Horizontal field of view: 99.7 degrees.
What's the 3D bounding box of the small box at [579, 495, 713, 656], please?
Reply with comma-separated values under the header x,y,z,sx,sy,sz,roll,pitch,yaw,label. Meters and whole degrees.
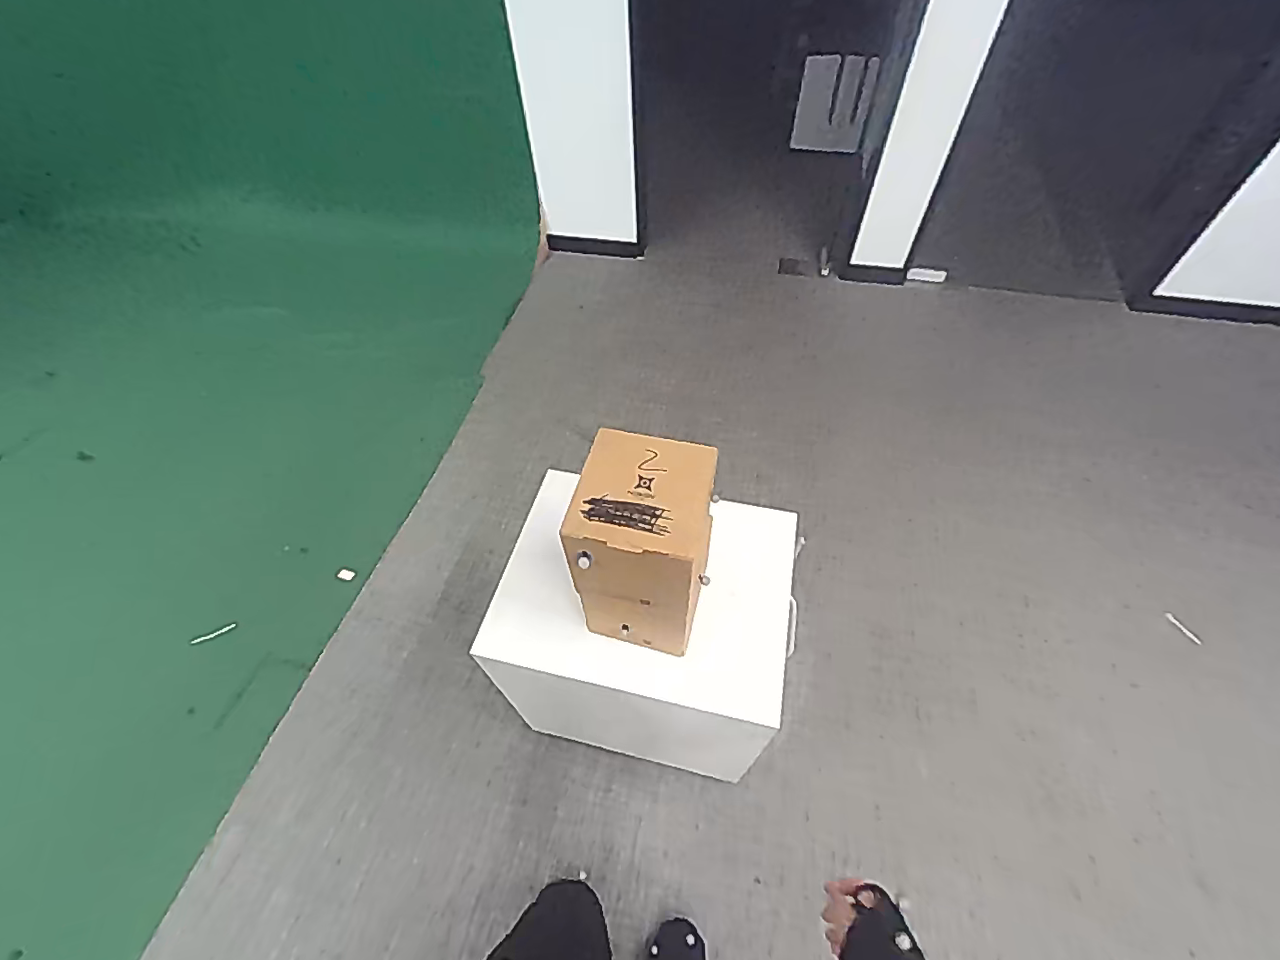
x,y,z,sx,sy,sz,roll,pitch,yaw,label
0.013,0.155,0.869,0.168,0.176,0.179,12,53,11,small box
